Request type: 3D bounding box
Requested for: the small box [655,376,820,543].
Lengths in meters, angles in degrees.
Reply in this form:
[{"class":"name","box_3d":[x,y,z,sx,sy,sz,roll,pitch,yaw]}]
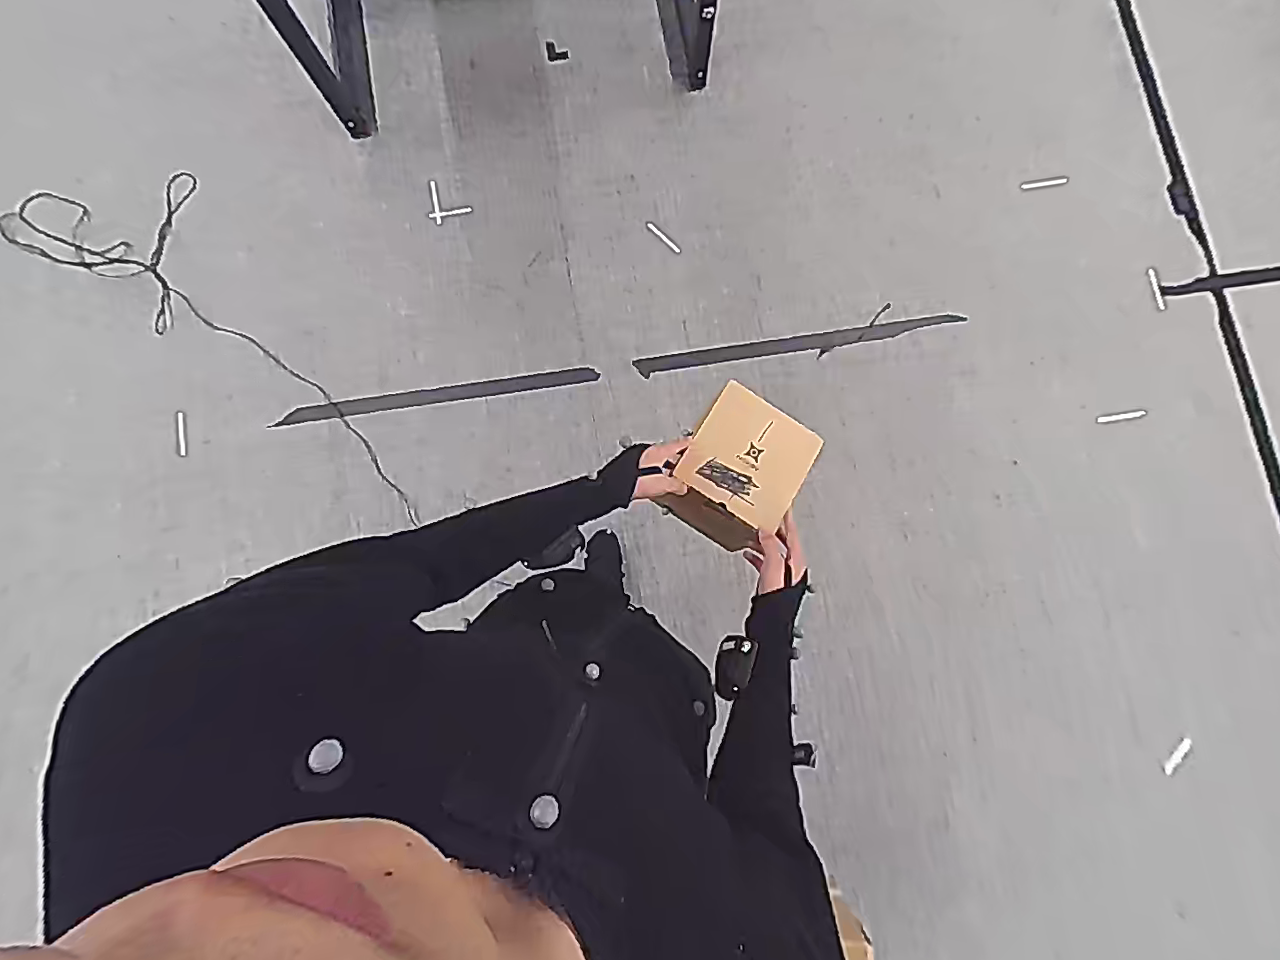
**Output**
[{"class":"small box","box_3d":[0.137,-0.020,0.828,0.168,0.176,0.179,32,73,-1]}]
